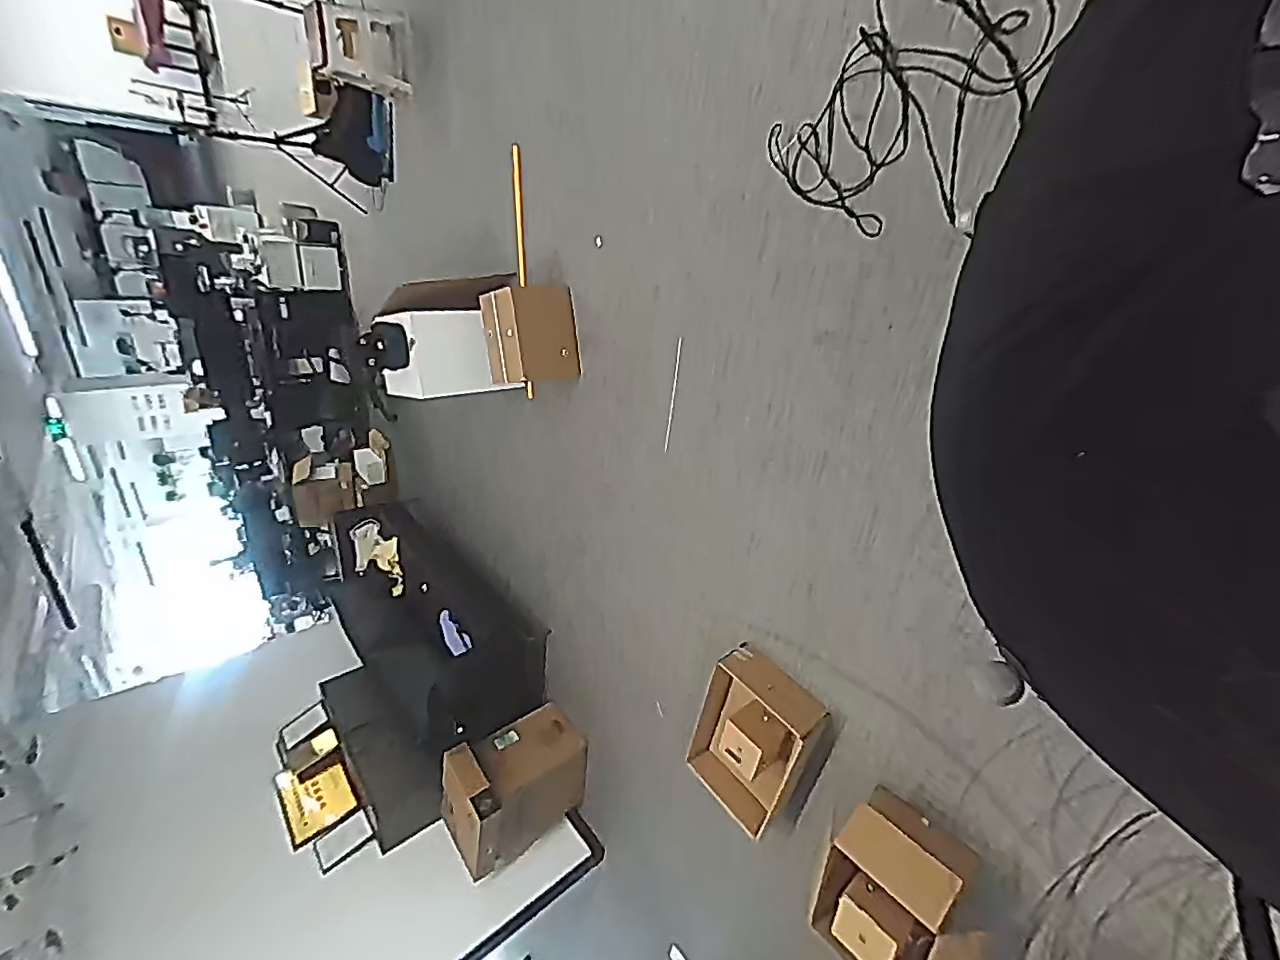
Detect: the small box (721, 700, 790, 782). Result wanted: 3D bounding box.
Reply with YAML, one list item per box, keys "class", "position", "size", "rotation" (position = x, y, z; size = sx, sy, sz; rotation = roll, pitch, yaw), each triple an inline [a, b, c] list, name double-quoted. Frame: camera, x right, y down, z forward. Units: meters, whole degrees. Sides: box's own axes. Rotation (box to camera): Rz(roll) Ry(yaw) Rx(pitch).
- class: "small box"
  position: [0.430, 0.961, 2.002]
  size: [0.168, 0.176, 0.179]
  rotation: [34, 127, 40]

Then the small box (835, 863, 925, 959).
- class: "small box"
  position: [0.698, 1.273, 1.569]
  size: [0.168, 0.176, 0.179]
  rotation: [26, 119, 44]
